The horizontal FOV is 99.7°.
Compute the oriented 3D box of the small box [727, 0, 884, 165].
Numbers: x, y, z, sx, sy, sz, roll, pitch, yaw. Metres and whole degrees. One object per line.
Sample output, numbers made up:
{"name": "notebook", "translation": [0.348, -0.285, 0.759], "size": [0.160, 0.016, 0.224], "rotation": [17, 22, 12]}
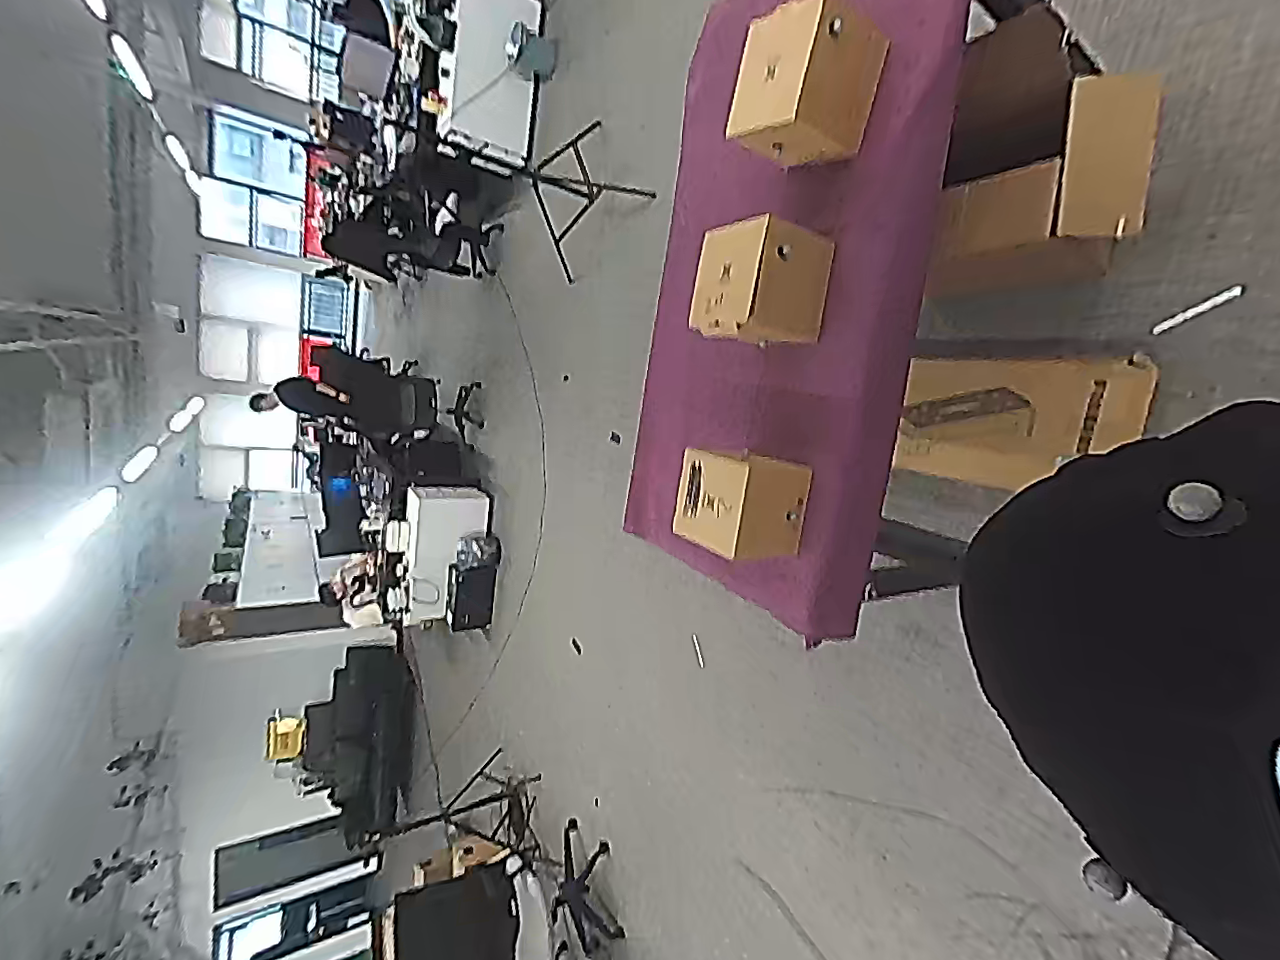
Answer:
{"name": "small box", "translation": [0.278, -0.653, 0.912], "size": [0.168, 0.176, 0.179], "rotation": [32, 114, 52]}

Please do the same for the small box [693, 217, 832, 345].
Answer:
{"name": "small box", "translation": [0.222, -0.348, 0.980], "size": [0.168, 0.176, 0.179], "rotation": [21, 106, 57]}
